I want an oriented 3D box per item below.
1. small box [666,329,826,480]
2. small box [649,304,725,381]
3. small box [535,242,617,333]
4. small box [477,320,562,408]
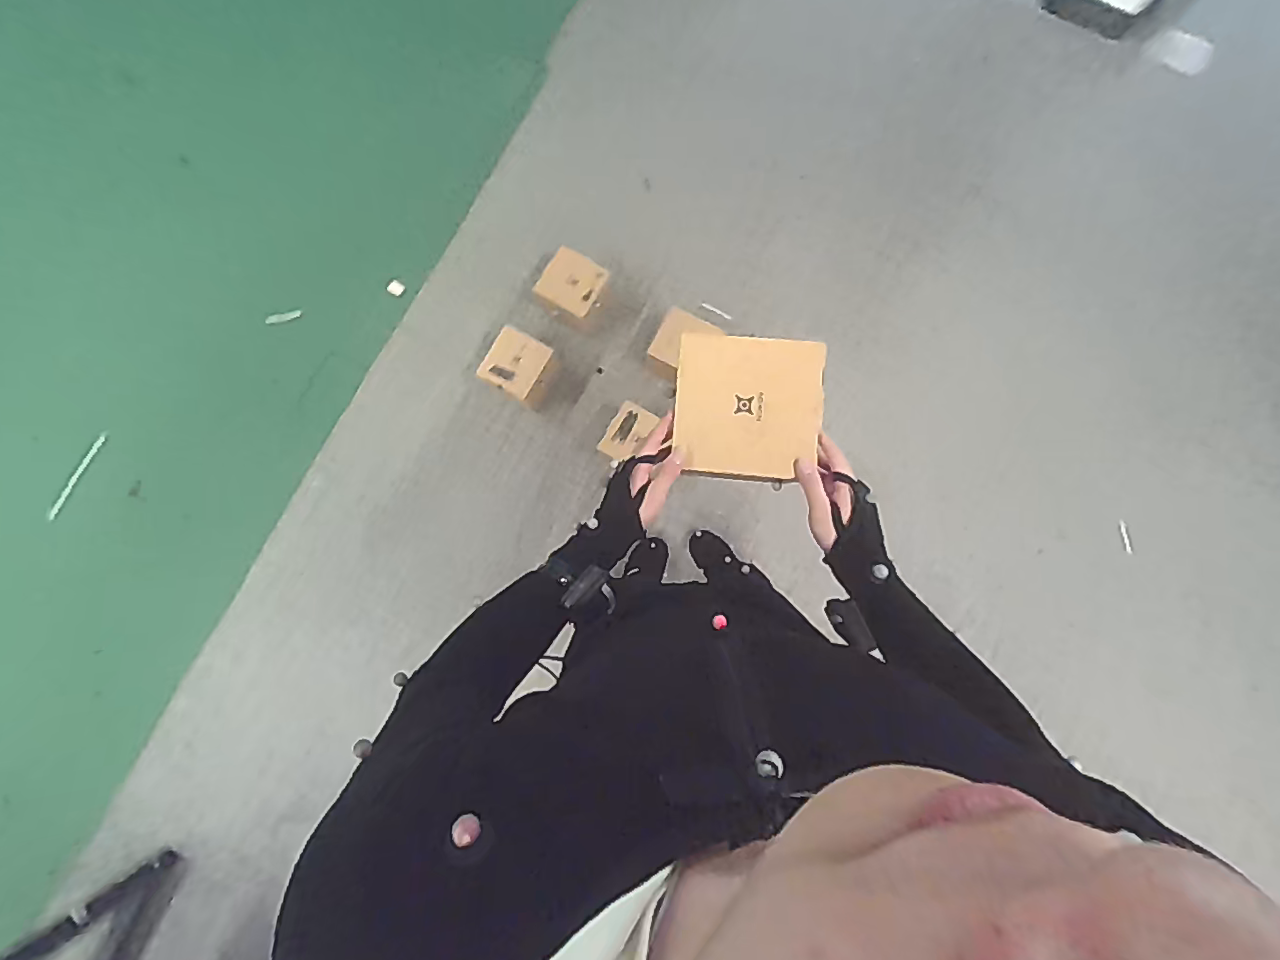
[{"bbox_3d":[0.127,-0.089,0.710,0.179,0.176,0.168,4,89,1],"label":"small box"},{"bbox_3d":[0.139,-0.386,1.612,0.179,0.176,0.168,29,85,4],"label":"small box"},{"bbox_3d":[-0.187,-0.574,1.638,0.179,0.176,0.168,32,86,5],"label":"small box"},{"bbox_3d":[-0.351,-0.337,1.617,0.168,0.176,0.179,31,85,4],"label":"small box"}]
